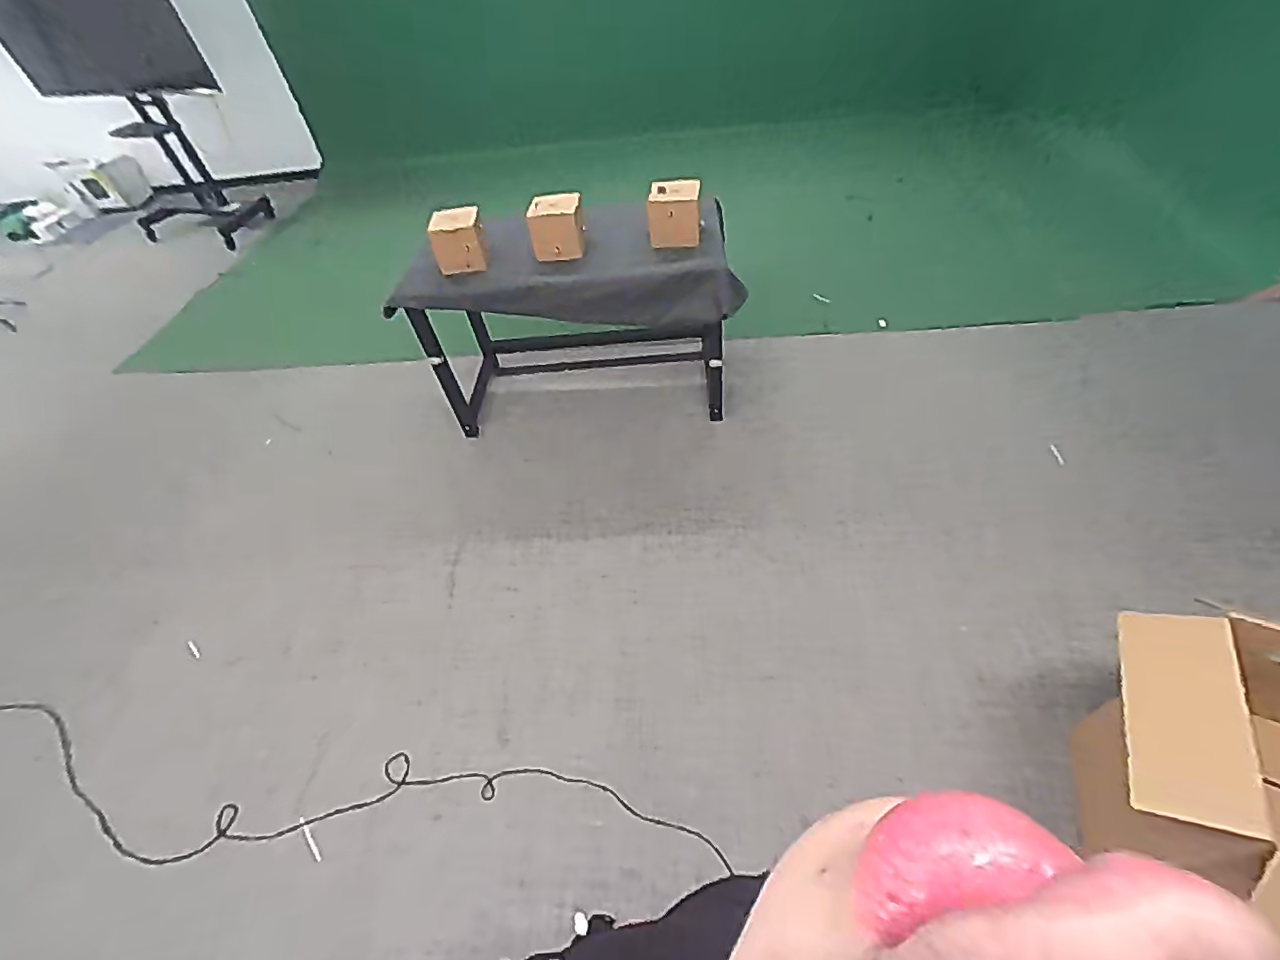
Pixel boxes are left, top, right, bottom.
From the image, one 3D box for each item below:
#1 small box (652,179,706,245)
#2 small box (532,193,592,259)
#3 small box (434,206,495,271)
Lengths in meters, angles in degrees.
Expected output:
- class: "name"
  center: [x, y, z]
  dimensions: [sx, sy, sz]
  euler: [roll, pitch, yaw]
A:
- class: "small box"
  center: [0.146, -0.971, 1.967]
  dimensions: [0.179, 0.176, 0.168]
  euler: [3, 50, 10]
- class: "small box"
  center: [-0.282, -0.939, 2.005]
  dimensions: [0.179, 0.176, 0.168]
  euler: [0, 49, 7]
- class: "small box"
  center: [-0.649, -0.898, 2.023]
  dimensions: [0.168, 0.176, 0.179]
  euler: [-7, 46, -1]
